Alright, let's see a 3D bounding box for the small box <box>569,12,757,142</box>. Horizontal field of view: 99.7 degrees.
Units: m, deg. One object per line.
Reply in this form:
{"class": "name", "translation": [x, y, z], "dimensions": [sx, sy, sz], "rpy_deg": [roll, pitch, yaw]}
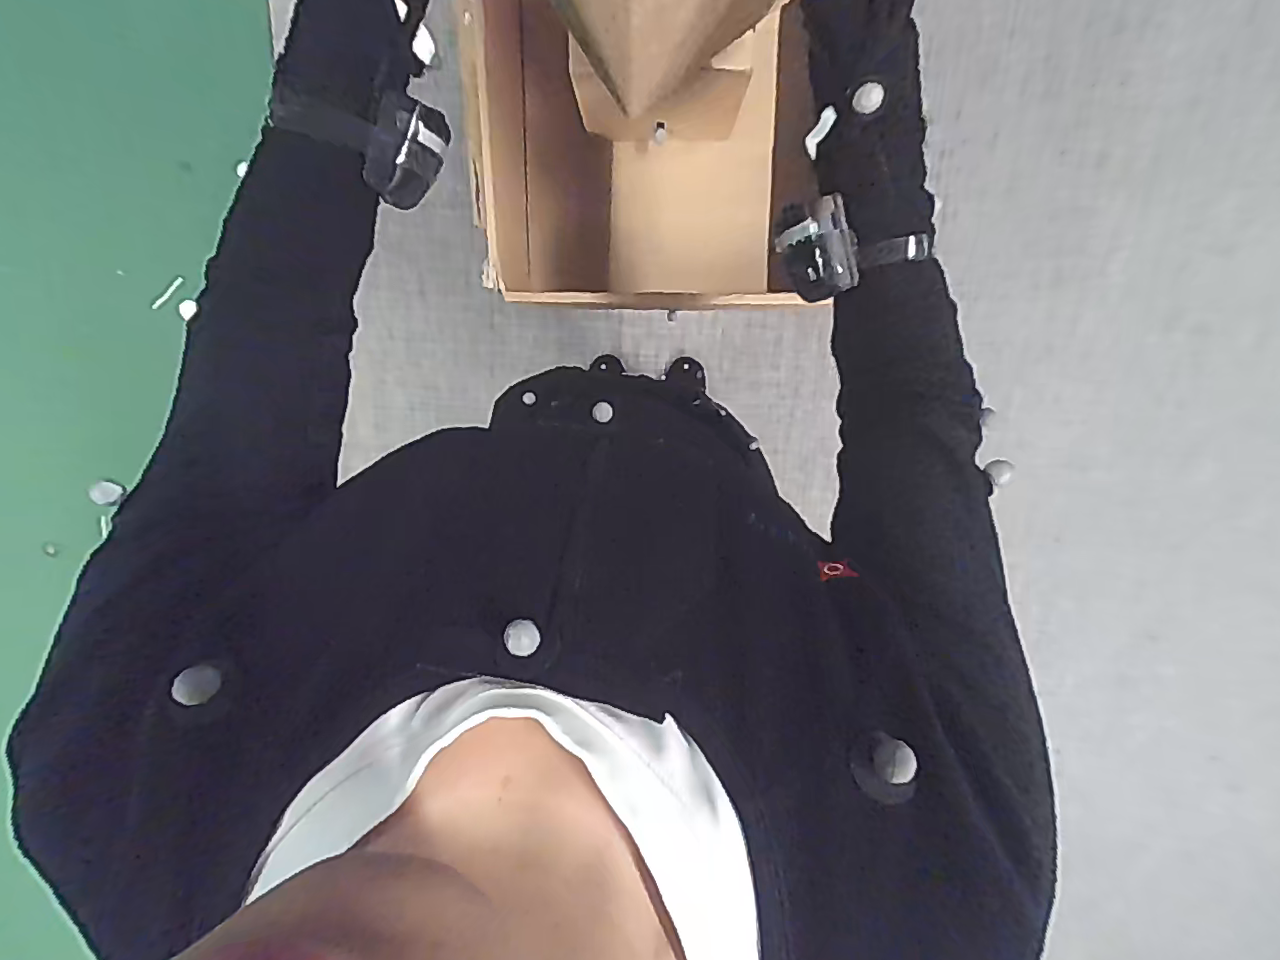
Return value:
{"class": "small box", "translation": [0.021, -0.477, 0.566], "dimensions": [0.179, 0.176, 0.168], "rpy_deg": [1, 102, 0]}

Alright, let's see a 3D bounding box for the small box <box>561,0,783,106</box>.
{"class": "small box", "translation": [0.017, -0.401, 0.353], "dimensions": [0.179, 0.176, 0.168], "rpy_deg": [-36, 97, 3]}
